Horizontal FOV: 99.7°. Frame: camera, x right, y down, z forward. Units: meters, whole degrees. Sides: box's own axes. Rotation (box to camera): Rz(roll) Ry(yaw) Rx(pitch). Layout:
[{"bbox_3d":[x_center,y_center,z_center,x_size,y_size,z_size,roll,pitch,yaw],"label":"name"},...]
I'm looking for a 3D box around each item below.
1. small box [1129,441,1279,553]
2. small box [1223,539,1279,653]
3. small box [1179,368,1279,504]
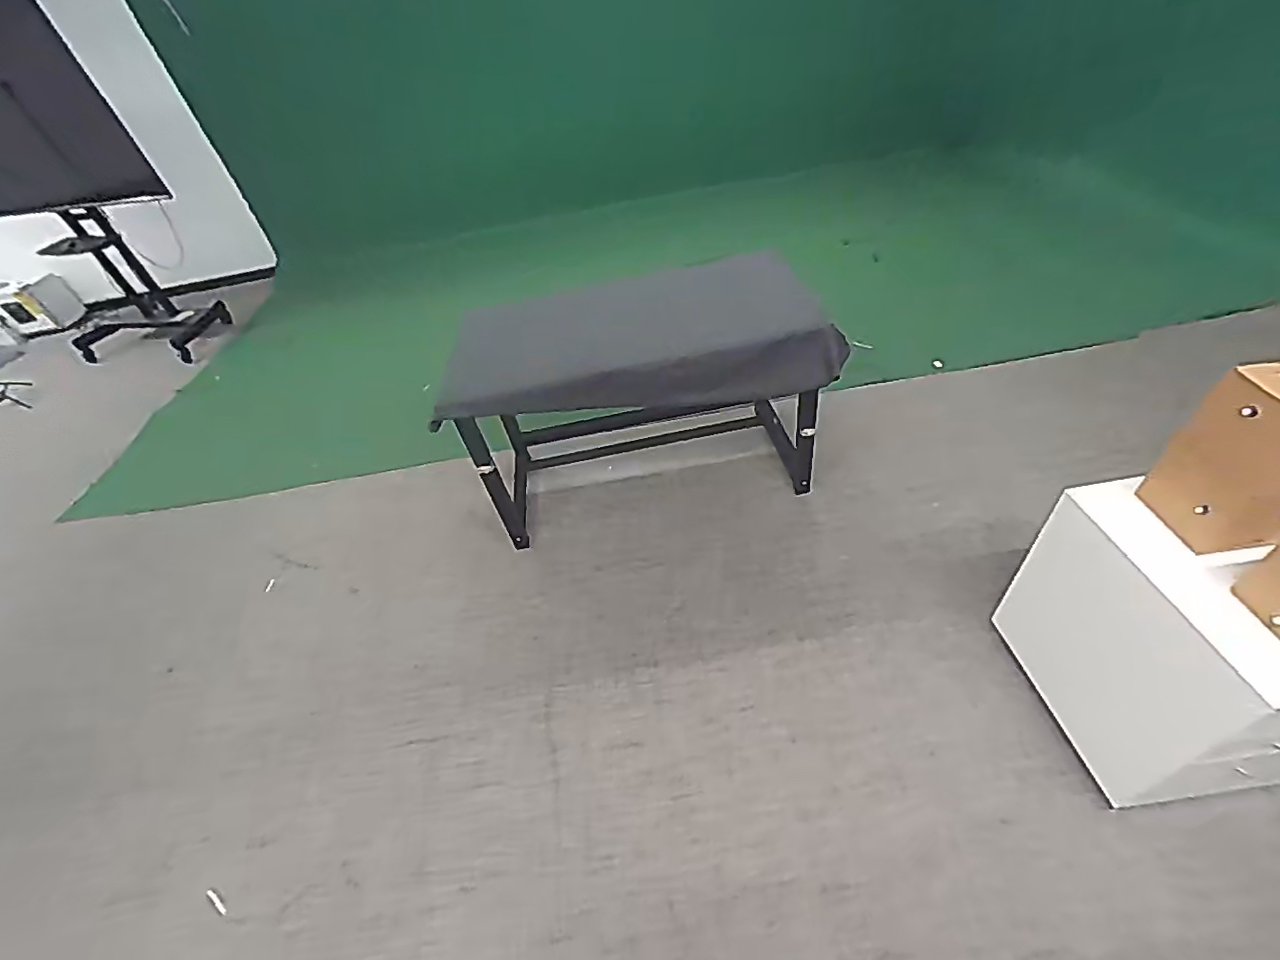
[{"bbox_3d":[1.154,0.031,1.079,0.168,0.176,0.179,-7,44,1],"label":"small box"},{"bbox_3d":[1.167,0.204,0.900,0.168,0.176,0.179,-8,45,2],"label":"small box"},{"bbox_3d":[1.141,-0.082,0.961,0.168,0.176,0.179,-7,46,1],"label":"small box"}]
